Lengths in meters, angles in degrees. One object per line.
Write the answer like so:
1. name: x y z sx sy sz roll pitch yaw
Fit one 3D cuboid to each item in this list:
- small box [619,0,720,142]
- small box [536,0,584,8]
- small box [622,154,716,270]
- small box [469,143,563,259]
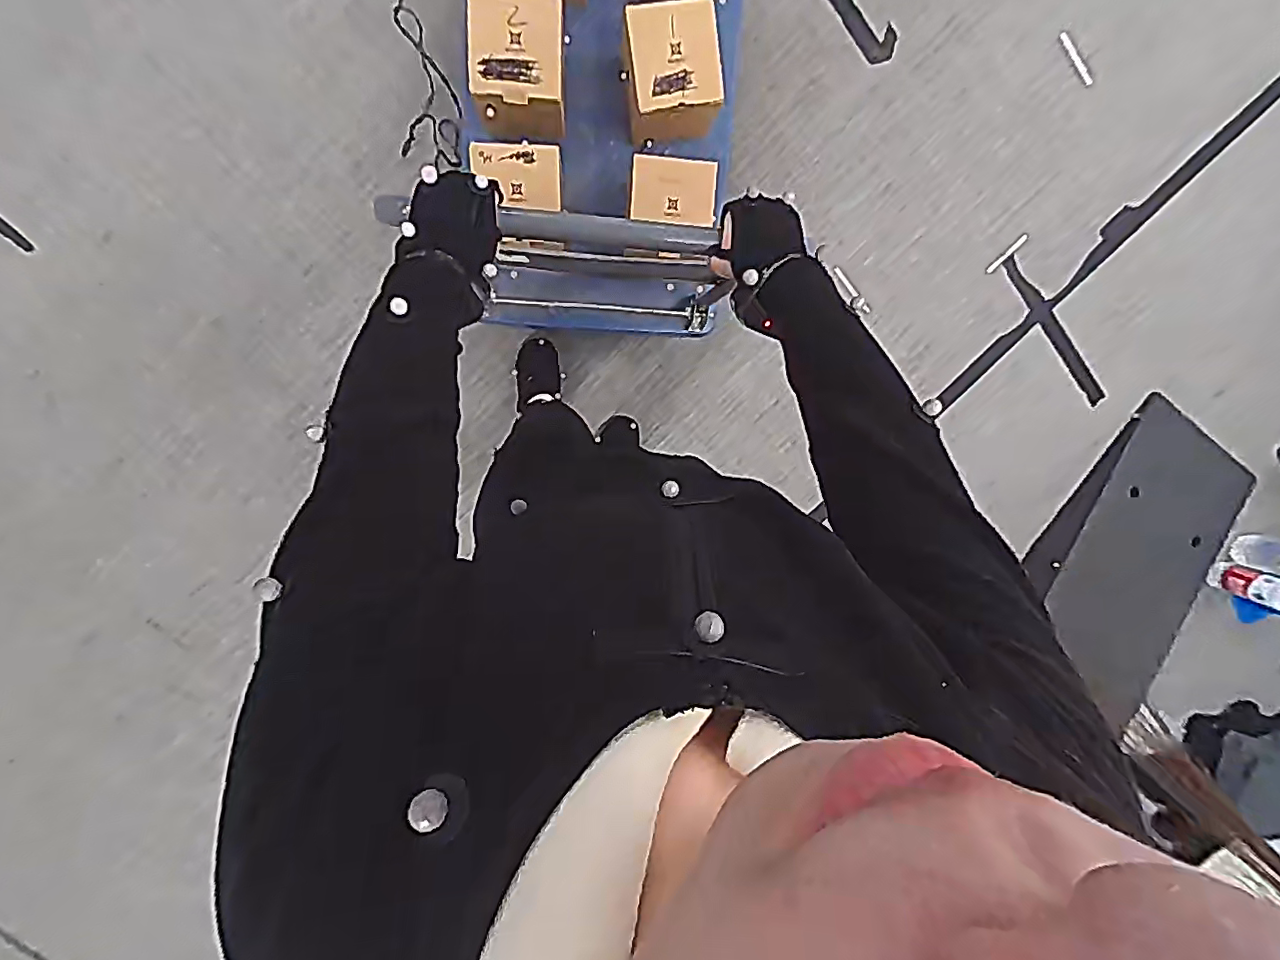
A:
1. small box: 0.054 -0.801 1.078 0.168 0.176 0.179 -10 102 -4
2. small box: -0.180 -1.040 1.003 0.168 0.176 0.179 4 102 -7
3. small box: 0.053 -0.549 1.131 0.168 0.176 0.179 2 101 -7
4. small box: -0.243 -0.554 1.096 0.168 0.176 0.179 -2 102 -7
